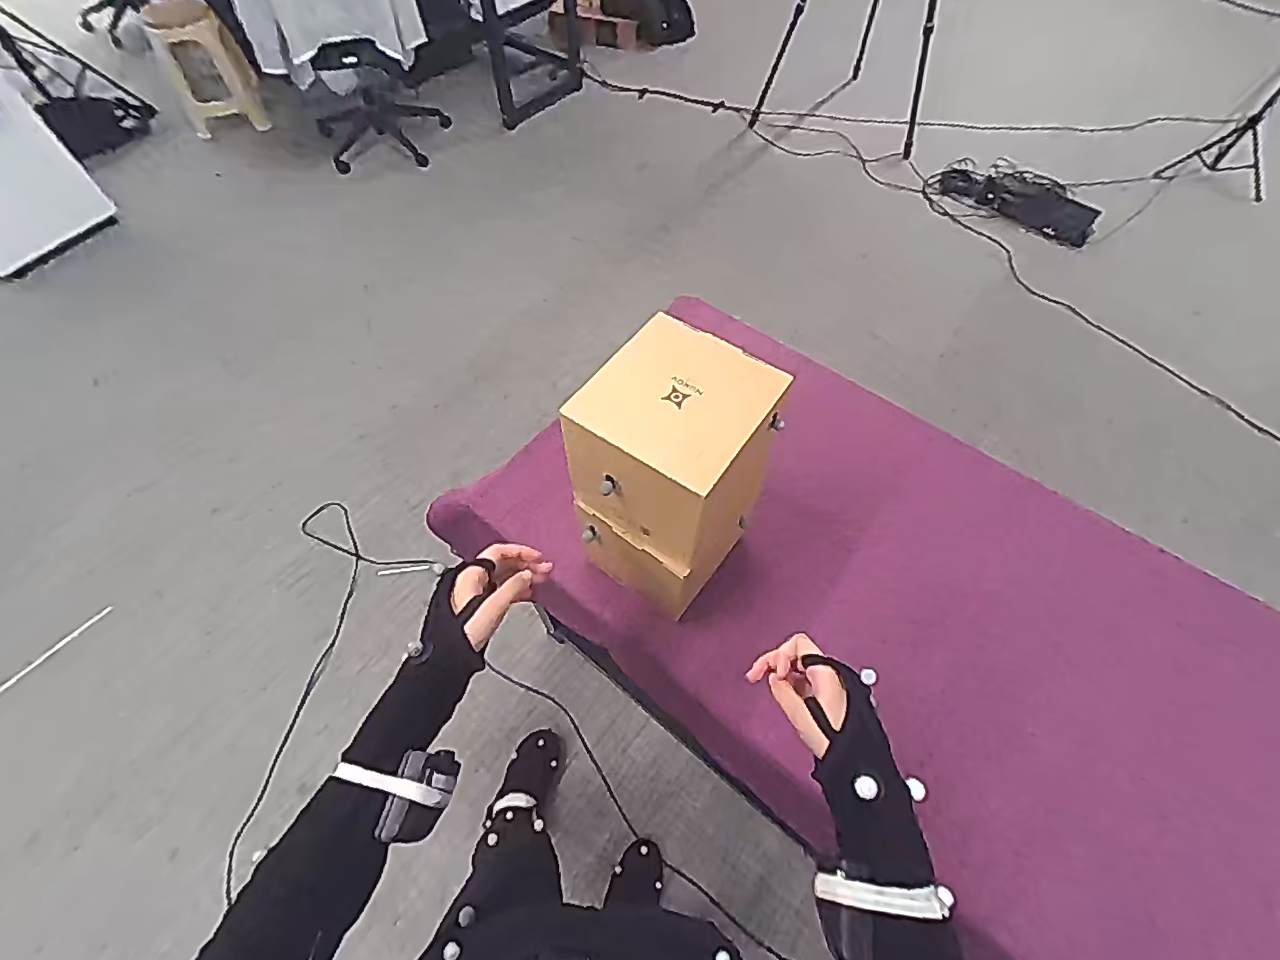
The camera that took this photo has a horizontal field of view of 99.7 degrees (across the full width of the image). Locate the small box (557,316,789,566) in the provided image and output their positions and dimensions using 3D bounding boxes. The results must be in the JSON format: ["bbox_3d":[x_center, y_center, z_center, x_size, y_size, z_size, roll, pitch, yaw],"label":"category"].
[{"bbox_3d":[0.035,-0.037,0.590,0.168,0.176,0.179,31,62,18],"label":"small box"}]
